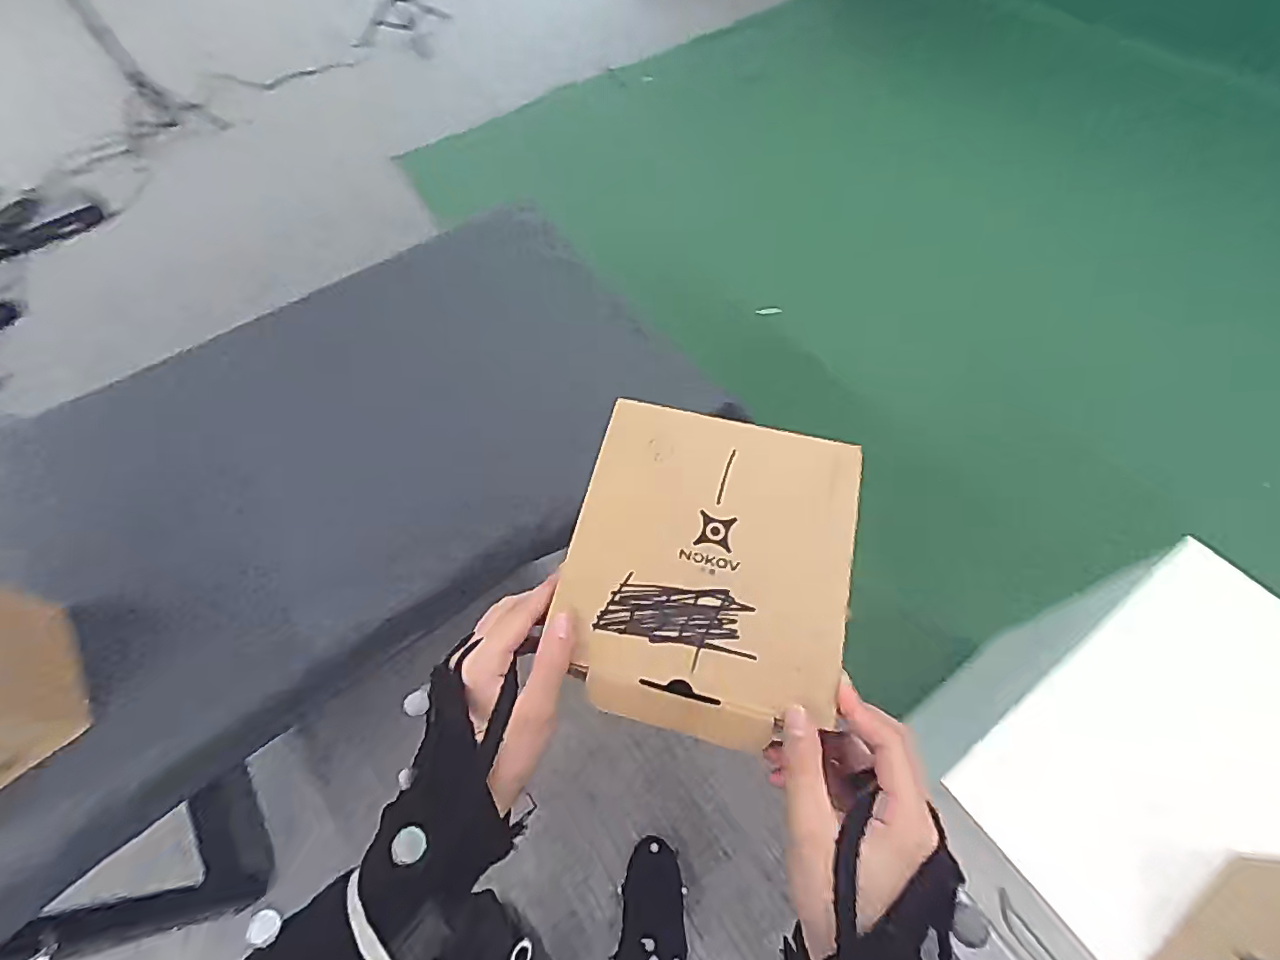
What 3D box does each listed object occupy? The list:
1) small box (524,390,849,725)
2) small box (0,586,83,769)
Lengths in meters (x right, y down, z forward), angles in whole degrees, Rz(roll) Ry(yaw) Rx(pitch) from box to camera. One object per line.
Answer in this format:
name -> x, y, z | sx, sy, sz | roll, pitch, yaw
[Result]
small box -> 0.035, 0.066, 0.393 | 0.168, 0.176, 0.179 | 12, 66, 6
small box -> -0.699, 0.202, 0.516 | 0.168, 0.176, 0.179 | -37, 64, -17
